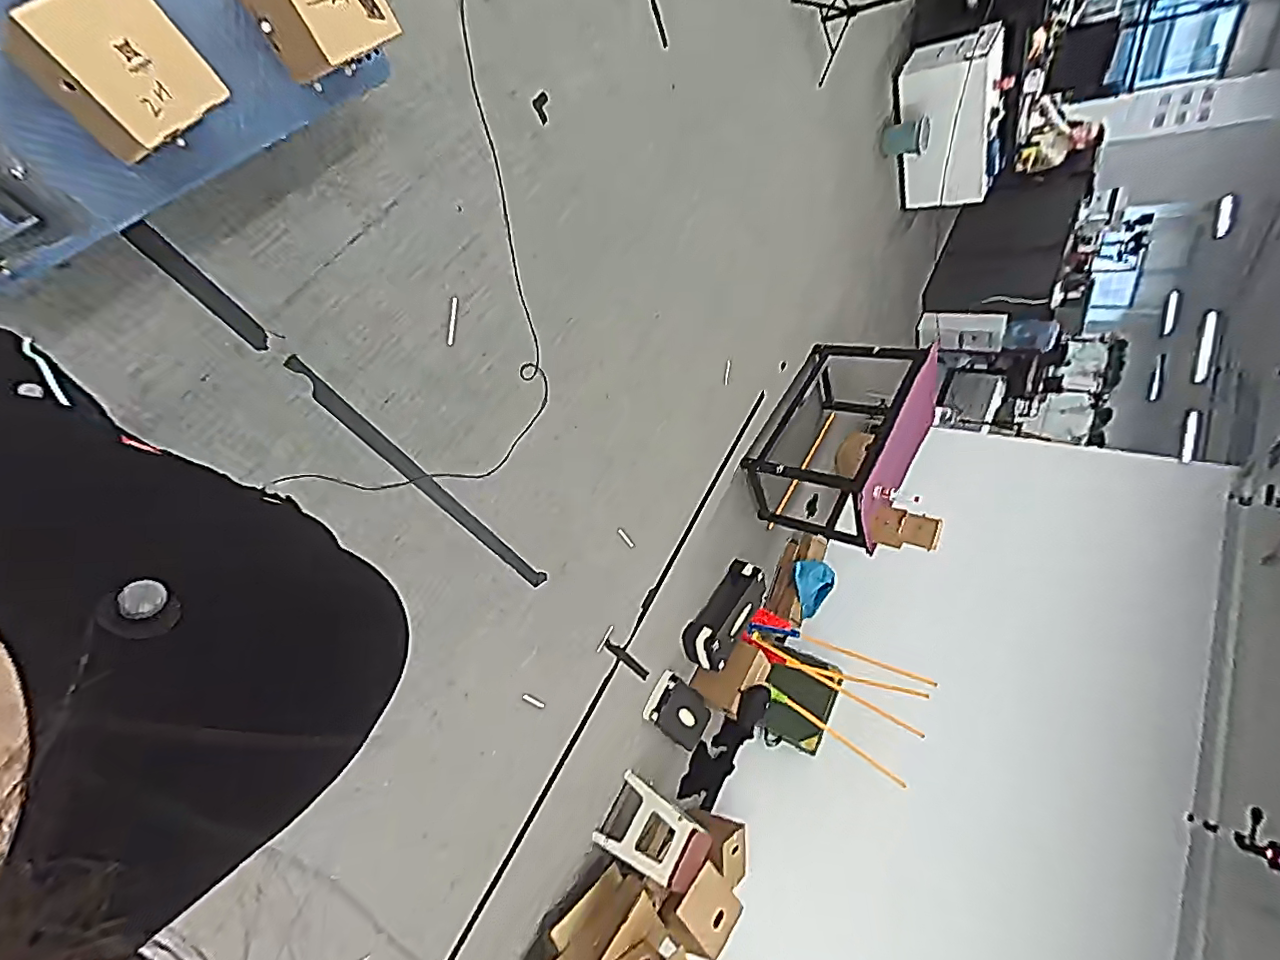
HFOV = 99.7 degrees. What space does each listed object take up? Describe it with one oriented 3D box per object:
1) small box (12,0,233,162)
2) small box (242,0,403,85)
[{"bbox_3d":[-0.793,-0.625,0.831,0.168,0.176,0.179,-57,139,-22],"label":"small box"},{"bbox_3d":[-0.592,-0.872,1.003,0.179,0.176,0.168,-52,137,-26],"label":"small box"}]
